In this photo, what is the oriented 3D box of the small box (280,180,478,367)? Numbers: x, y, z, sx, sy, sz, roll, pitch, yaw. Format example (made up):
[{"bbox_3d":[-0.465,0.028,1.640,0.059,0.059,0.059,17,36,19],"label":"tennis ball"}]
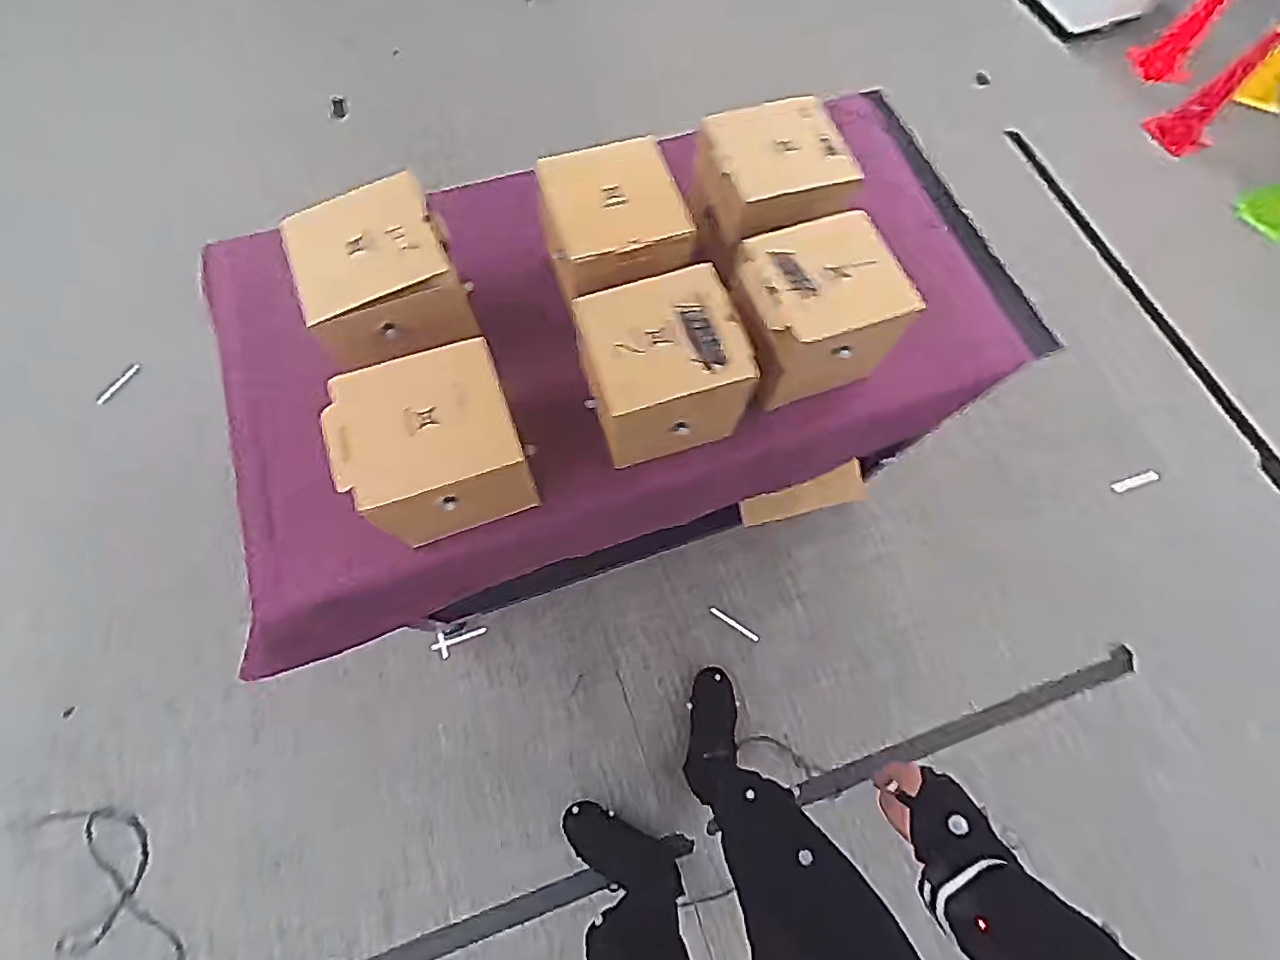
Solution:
[{"bbox_3d":[-0.336,-0.256,0.727,0.179,0.176,0.168,-20,74,-10],"label":"small box"}]

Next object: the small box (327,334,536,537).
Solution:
[{"bbox_3d":[-0.241,-0.044,0.660,0.179,0.176,0.168,-18,73,-9],"label":"small box"}]
